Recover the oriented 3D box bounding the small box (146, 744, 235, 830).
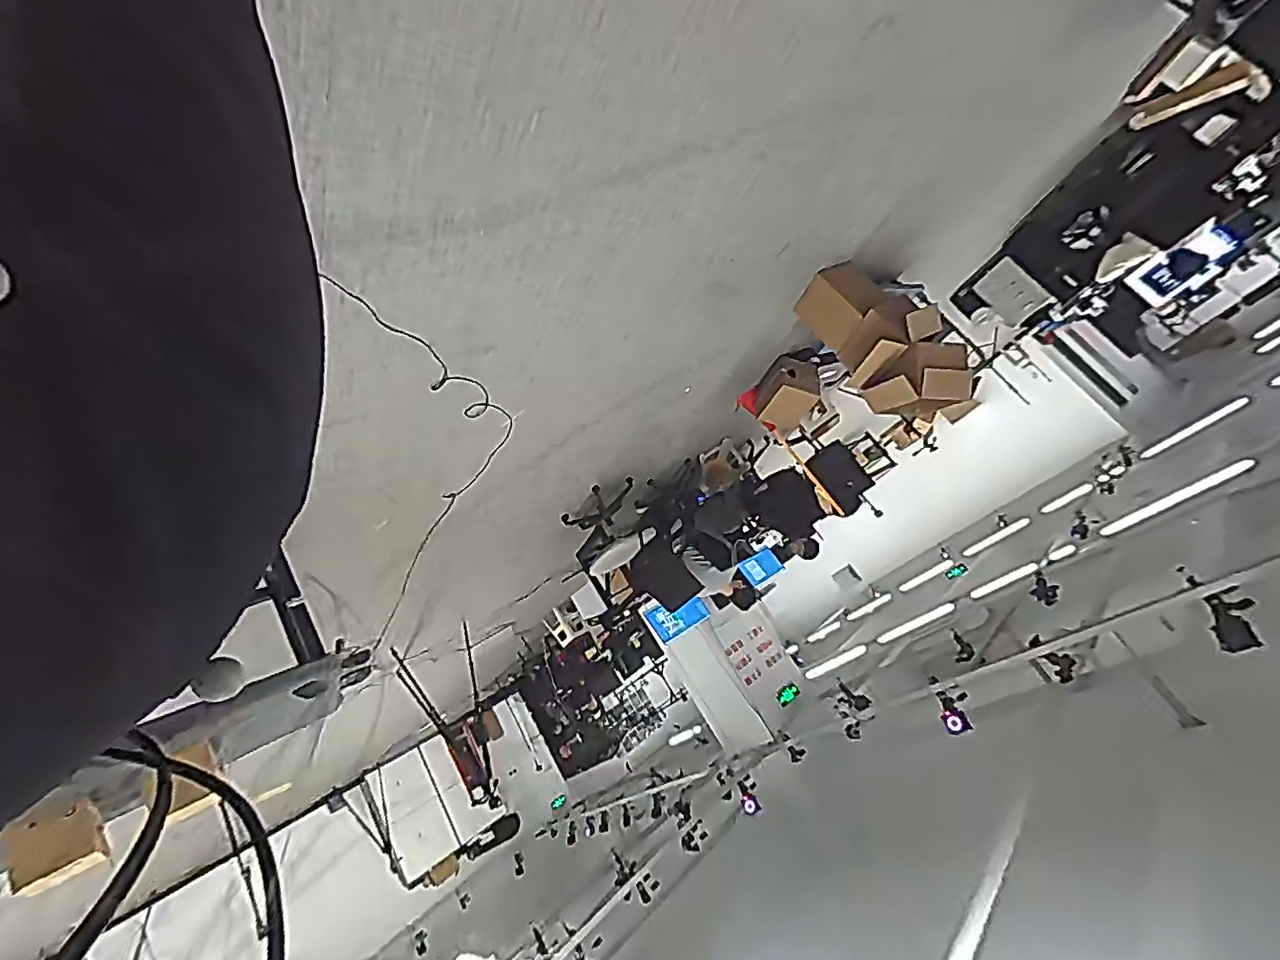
[{"bbox_3d":[-1.447,0.986,1.745,0.179,0.176,0.168,-21,158,-40],"label":"small box"}]

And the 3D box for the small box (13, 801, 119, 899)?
[{"bbox_3d":[-1.650,1.060,1.557,0.168,0.176,0.179,-19,158,-42],"label":"small box"}]
